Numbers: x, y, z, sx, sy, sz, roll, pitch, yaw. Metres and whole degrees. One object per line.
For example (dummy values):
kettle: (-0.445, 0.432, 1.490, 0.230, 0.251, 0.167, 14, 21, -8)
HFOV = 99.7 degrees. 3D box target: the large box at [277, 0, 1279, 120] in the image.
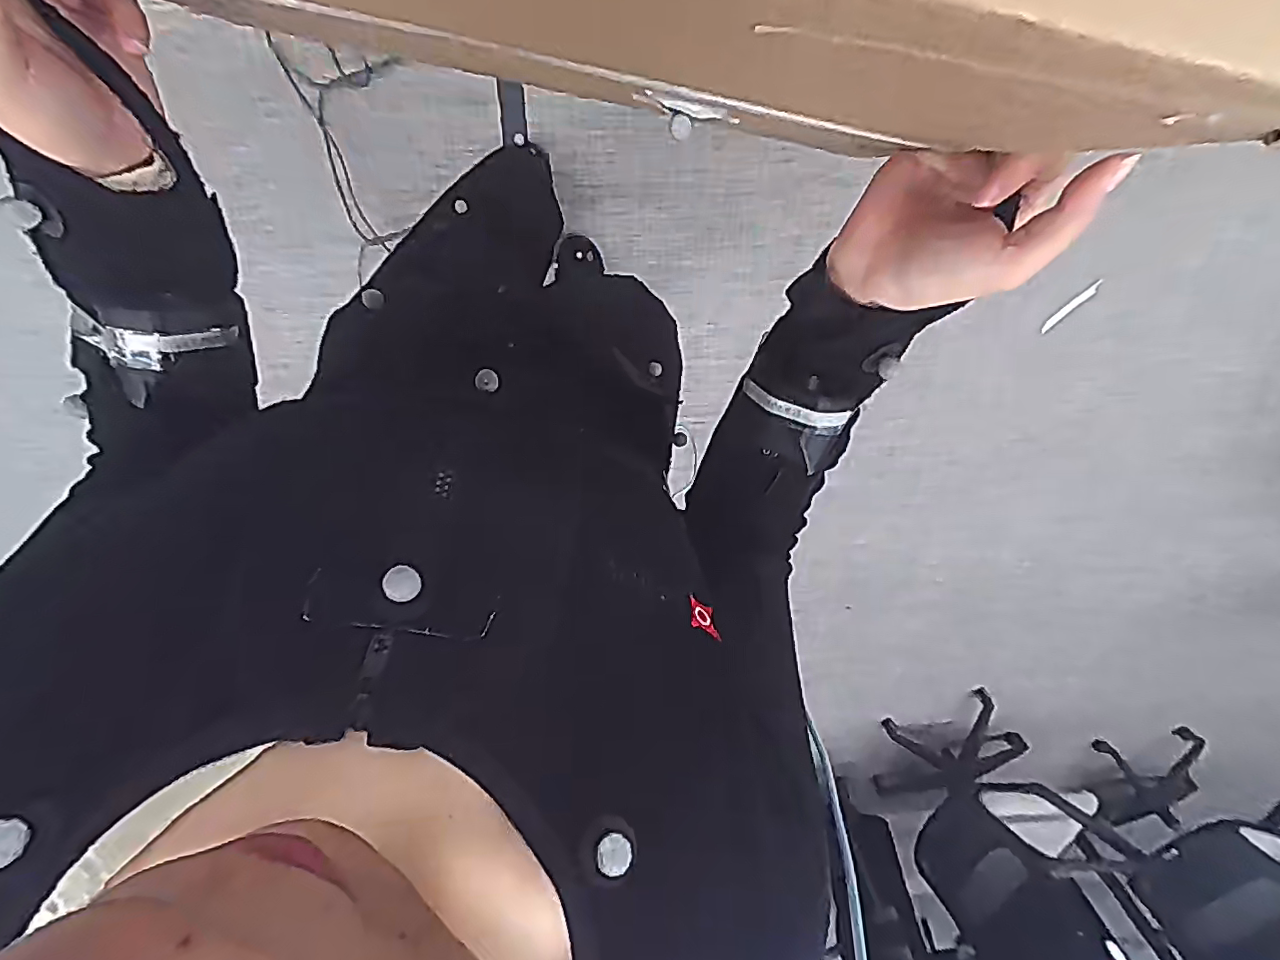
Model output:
large box: (-0.014, -0.319, 0.137, 0.408, 0.320, 0.320, 6, 121, -7)
